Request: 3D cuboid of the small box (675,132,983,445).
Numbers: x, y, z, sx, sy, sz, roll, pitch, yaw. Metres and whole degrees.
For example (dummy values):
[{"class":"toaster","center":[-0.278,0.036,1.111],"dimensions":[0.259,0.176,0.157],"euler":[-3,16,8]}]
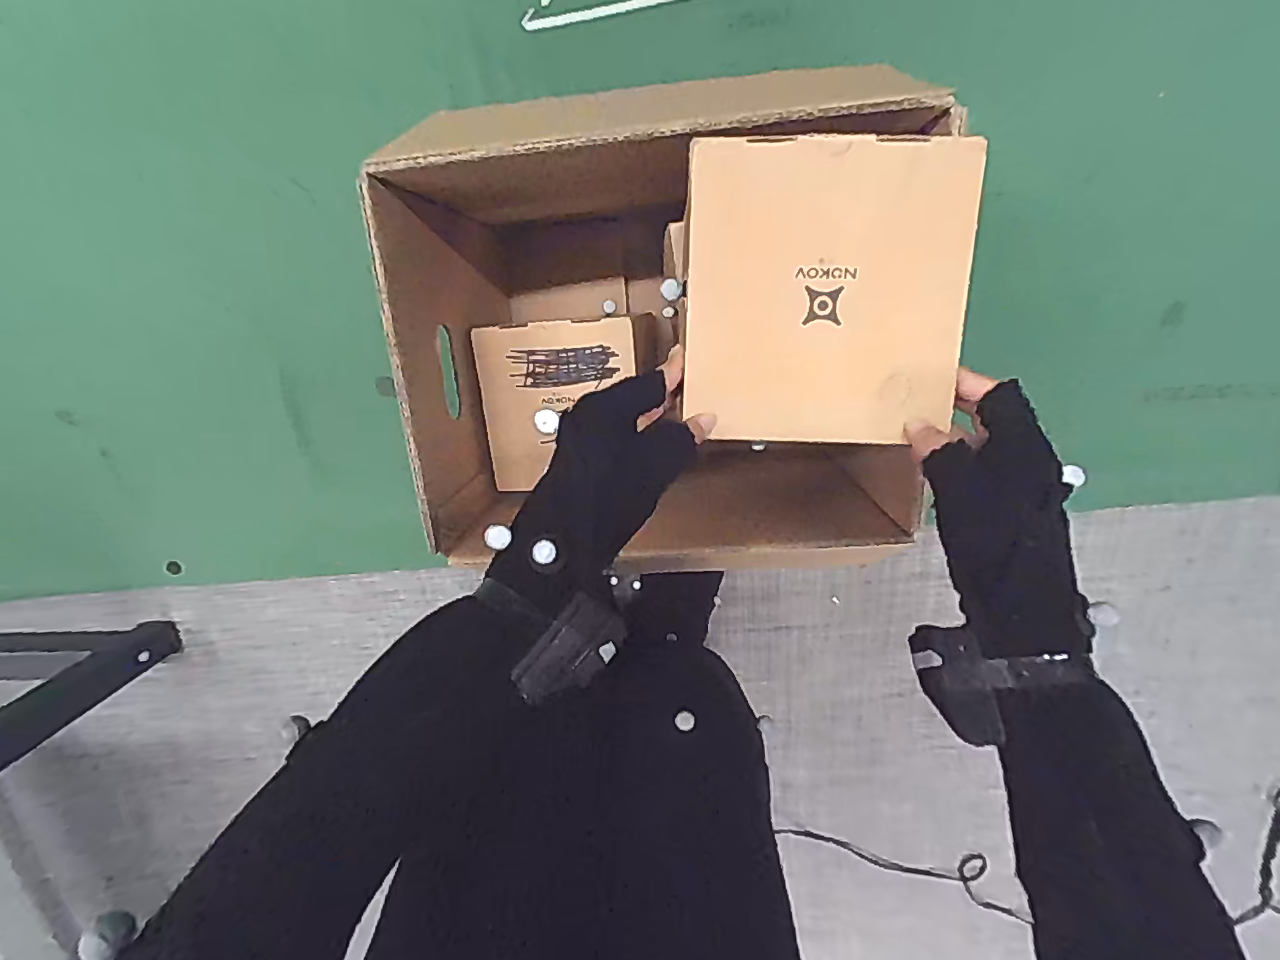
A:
[{"class":"small box","center":[0.113,-0.124,0.398],"dimensions":[0.168,0.176,0.179],"euler":[2,100,4]}]
